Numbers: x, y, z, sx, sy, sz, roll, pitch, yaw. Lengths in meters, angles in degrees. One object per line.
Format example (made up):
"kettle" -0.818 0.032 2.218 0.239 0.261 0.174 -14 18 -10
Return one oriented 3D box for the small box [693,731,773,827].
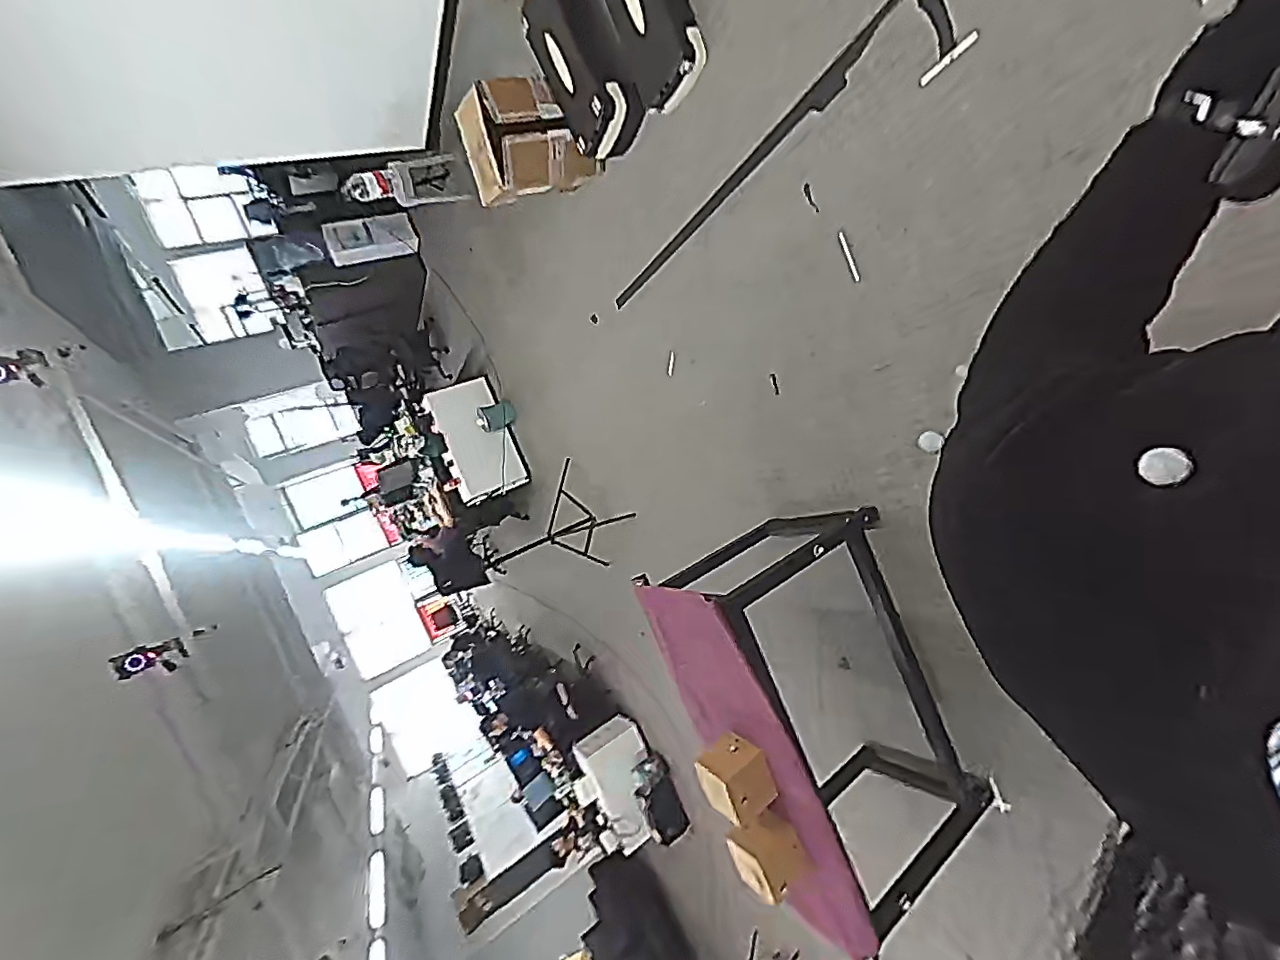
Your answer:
"small box" 0.306 0.964 1.757 0.168 0.176 0.179 -2 110 61
